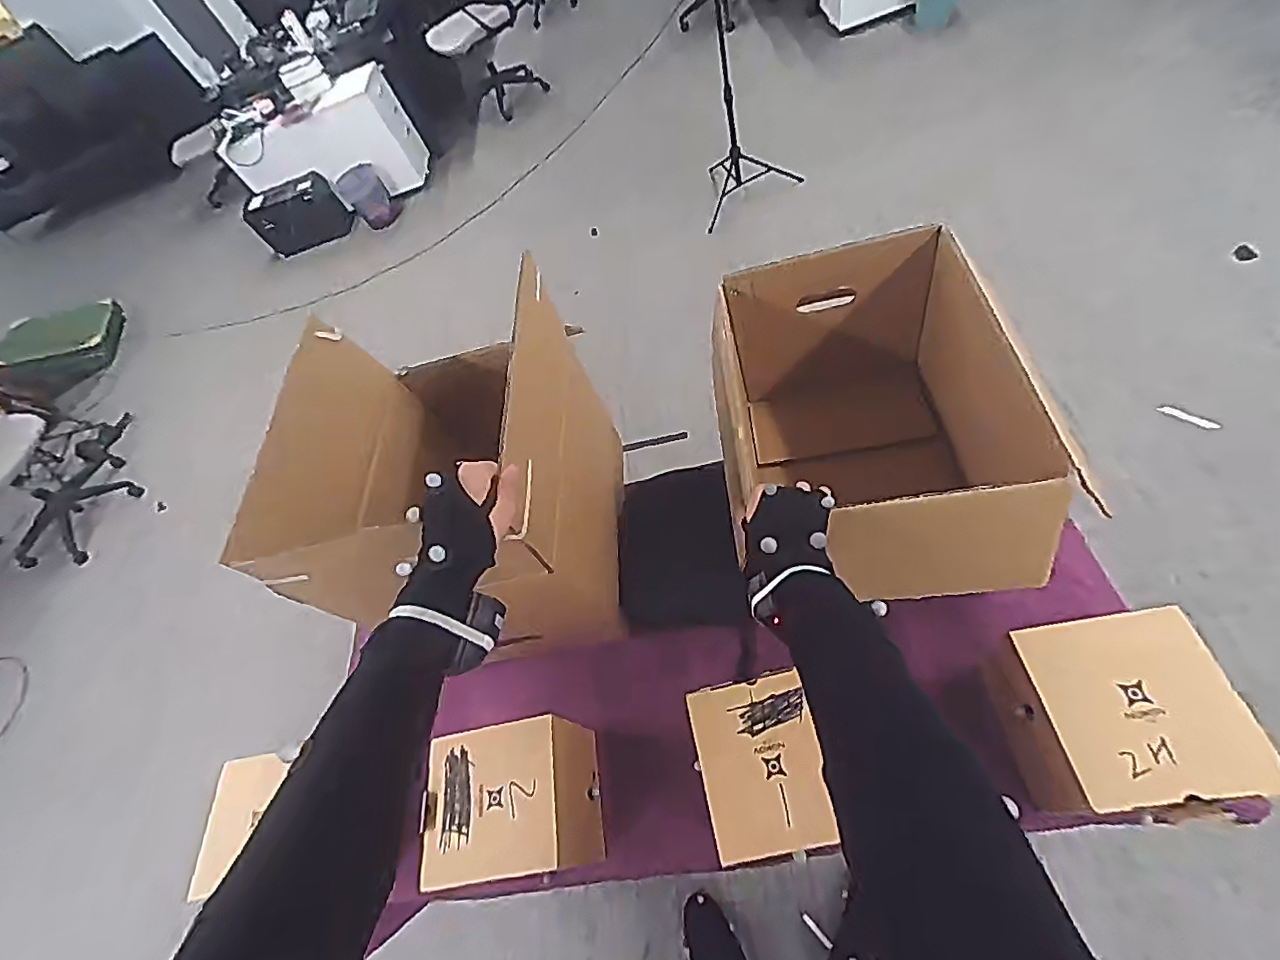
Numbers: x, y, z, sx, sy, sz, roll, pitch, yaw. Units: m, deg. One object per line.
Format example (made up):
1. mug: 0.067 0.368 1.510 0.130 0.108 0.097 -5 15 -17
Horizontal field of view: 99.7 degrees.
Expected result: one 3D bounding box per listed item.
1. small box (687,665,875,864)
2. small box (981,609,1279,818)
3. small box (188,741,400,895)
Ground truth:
1. small box: 0.167 0.349 0.662 0.168 0.176 0.179 -17 56 9
2. small box: 0.510 0.264 0.597 0.168 0.176 0.179 -13 56 12
3. small box: -0.489 0.494 0.793 0.179 0.176 0.168 -13 56 9
